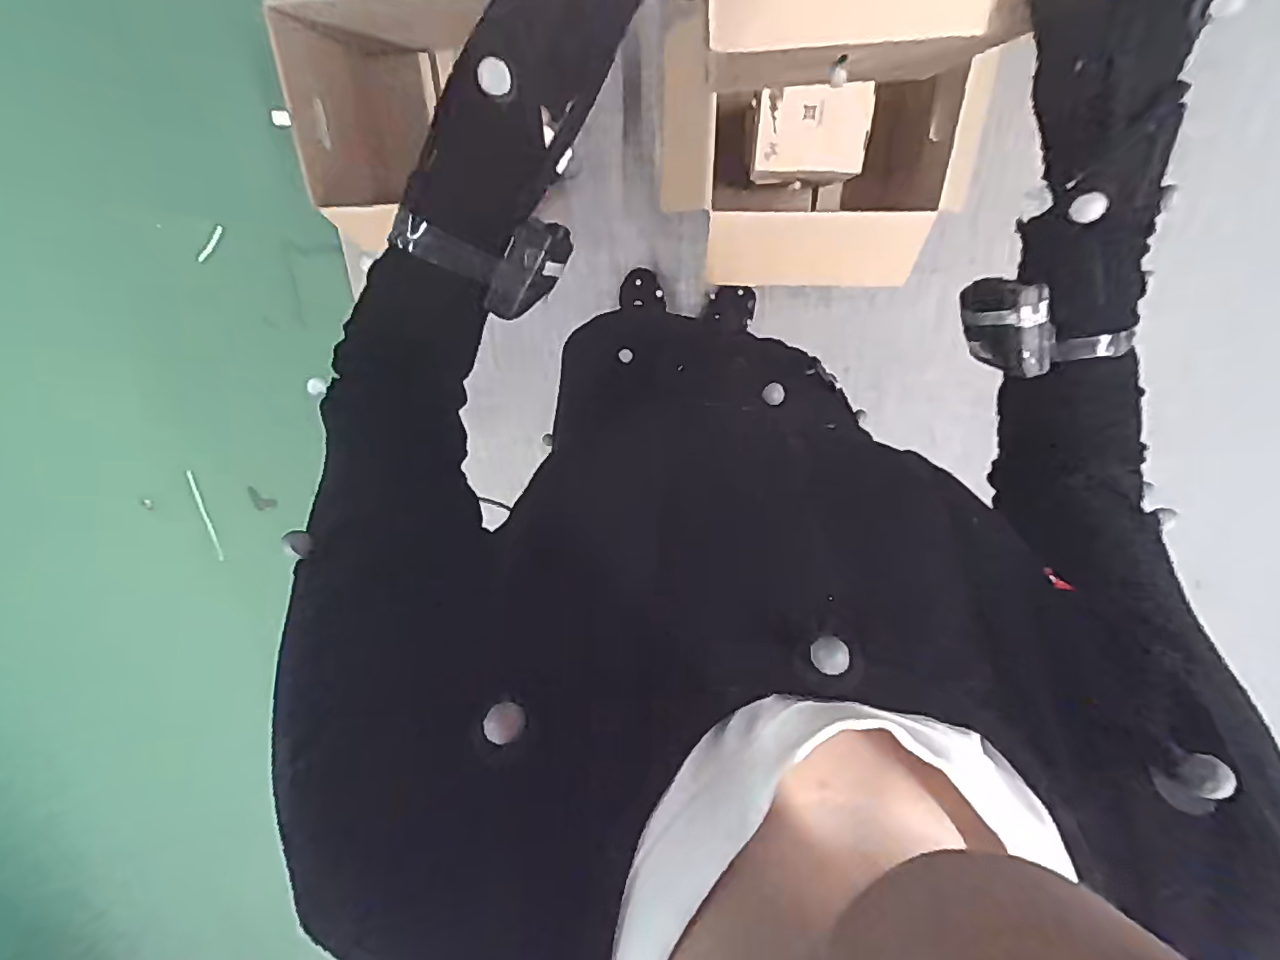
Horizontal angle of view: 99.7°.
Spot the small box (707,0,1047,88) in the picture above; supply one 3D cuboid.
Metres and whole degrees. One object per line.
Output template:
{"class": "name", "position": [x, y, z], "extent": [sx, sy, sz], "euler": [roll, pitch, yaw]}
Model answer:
{"class": "small box", "position": [0.128, -0.350, 0.324], "extent": [0.179, 0.176, 0.168], "euler": [-2, 121, 6]}
